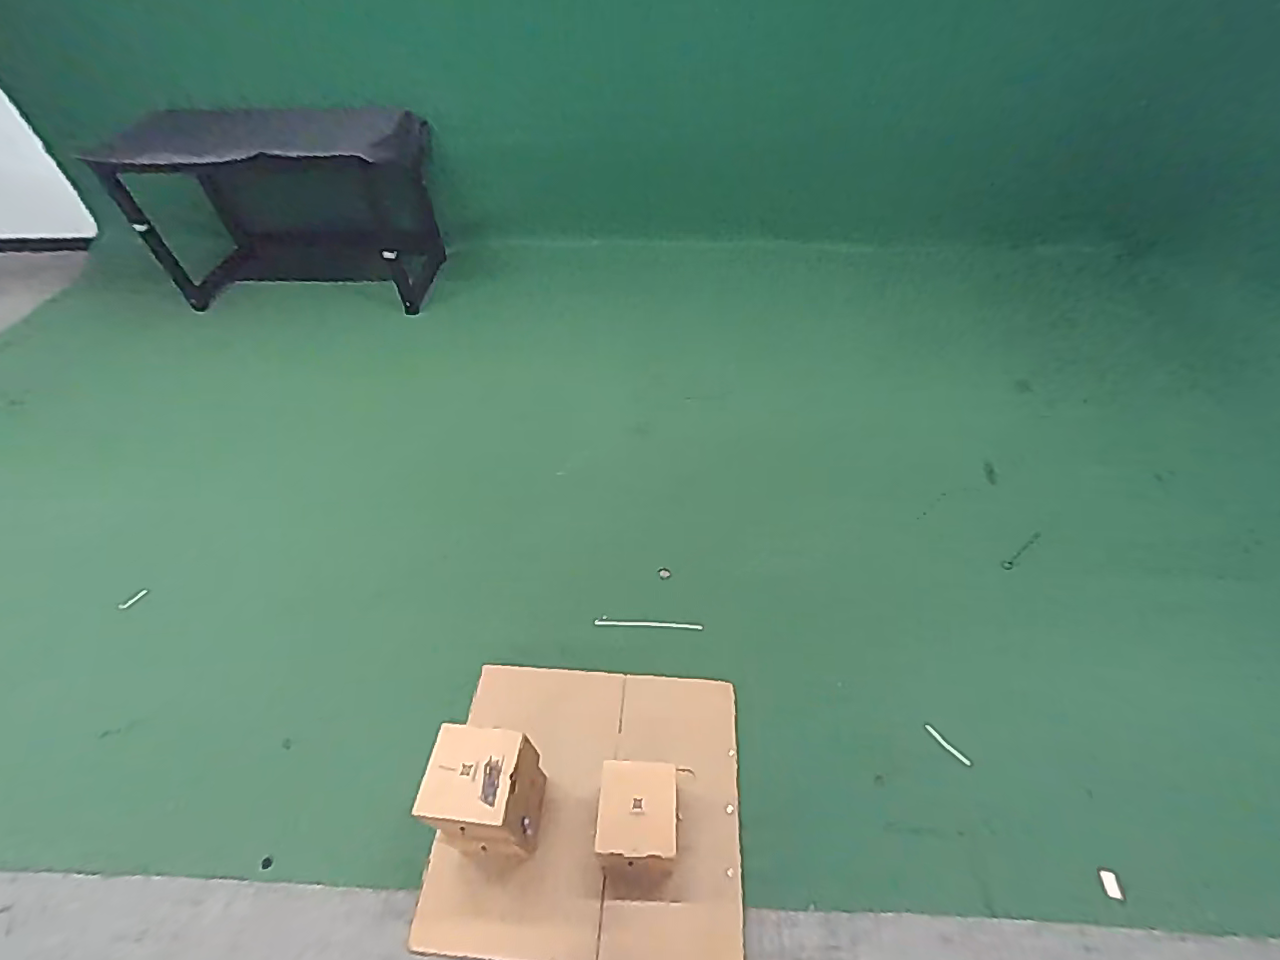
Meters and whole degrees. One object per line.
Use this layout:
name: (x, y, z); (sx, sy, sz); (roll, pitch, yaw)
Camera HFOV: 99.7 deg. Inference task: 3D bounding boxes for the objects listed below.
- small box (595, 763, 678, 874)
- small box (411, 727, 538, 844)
small box: (-0.003, 0.744, 1.186); (0.168, 0.176, 0.179); (1, 48, 3)
small box: (-0.318, 0.617, 1.087); (0.179, 0.176, 0.168); (3, 48, 8)
